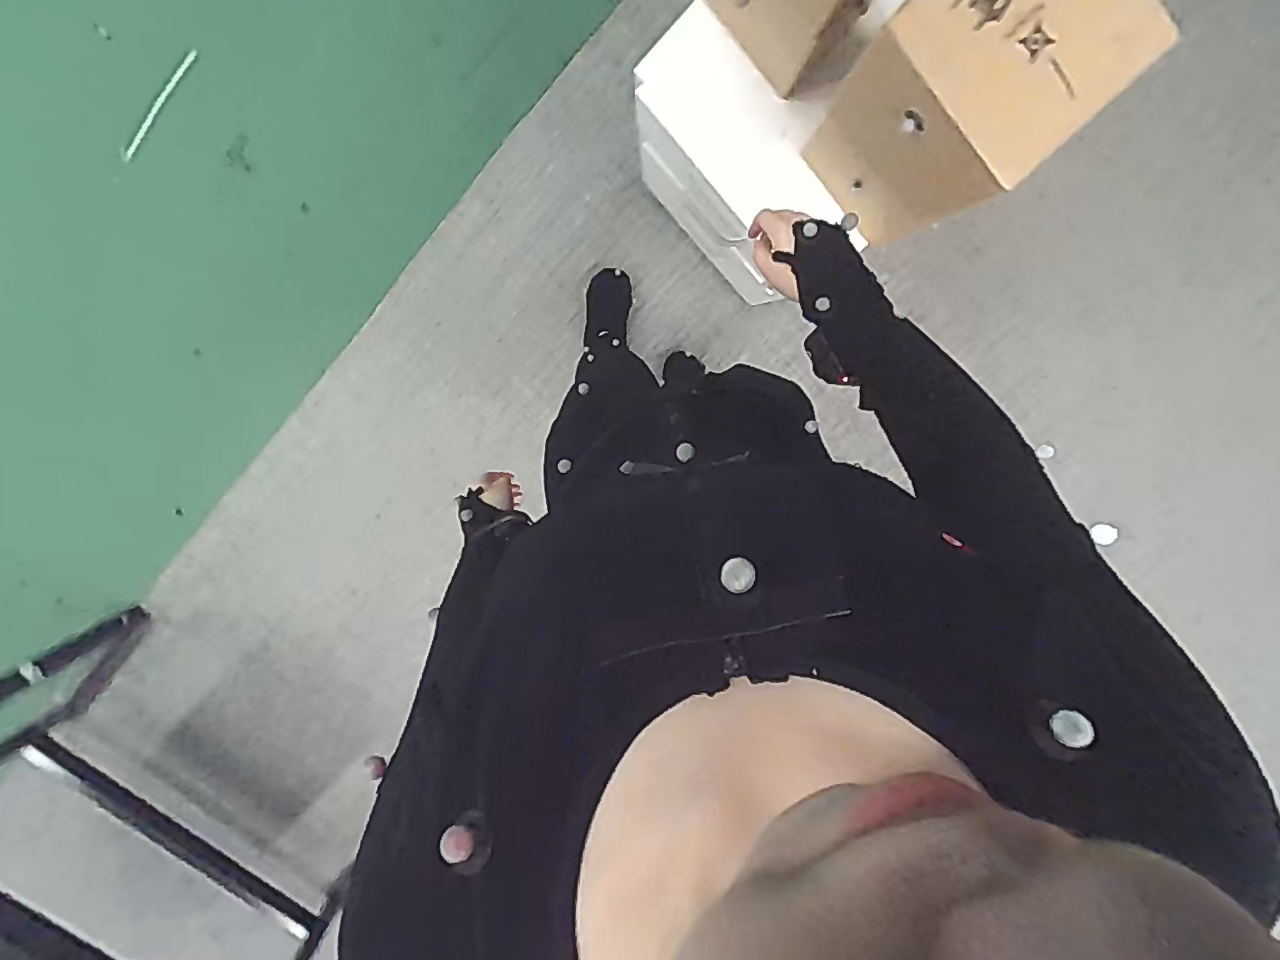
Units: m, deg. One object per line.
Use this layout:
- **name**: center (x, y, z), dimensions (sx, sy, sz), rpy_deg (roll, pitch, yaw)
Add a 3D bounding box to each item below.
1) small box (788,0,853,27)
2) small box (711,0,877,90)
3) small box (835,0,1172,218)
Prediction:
- **small box**: center (0.192, -0.571, 0.477), dimensions (0.168, 0.176, 0.179), rpy_deg (-41, 103, 11)
- **small box**: center (0.196, -0.617, 0.635), dimensions (0.168, 0.176, 0.179), rpy_deg (-43, 102, 12)
- **small box**: center (0.322, -0.389, 0.522), dimensions (0.168, 0.176, 0.179), rpy_deg (-42, 99, 11)
